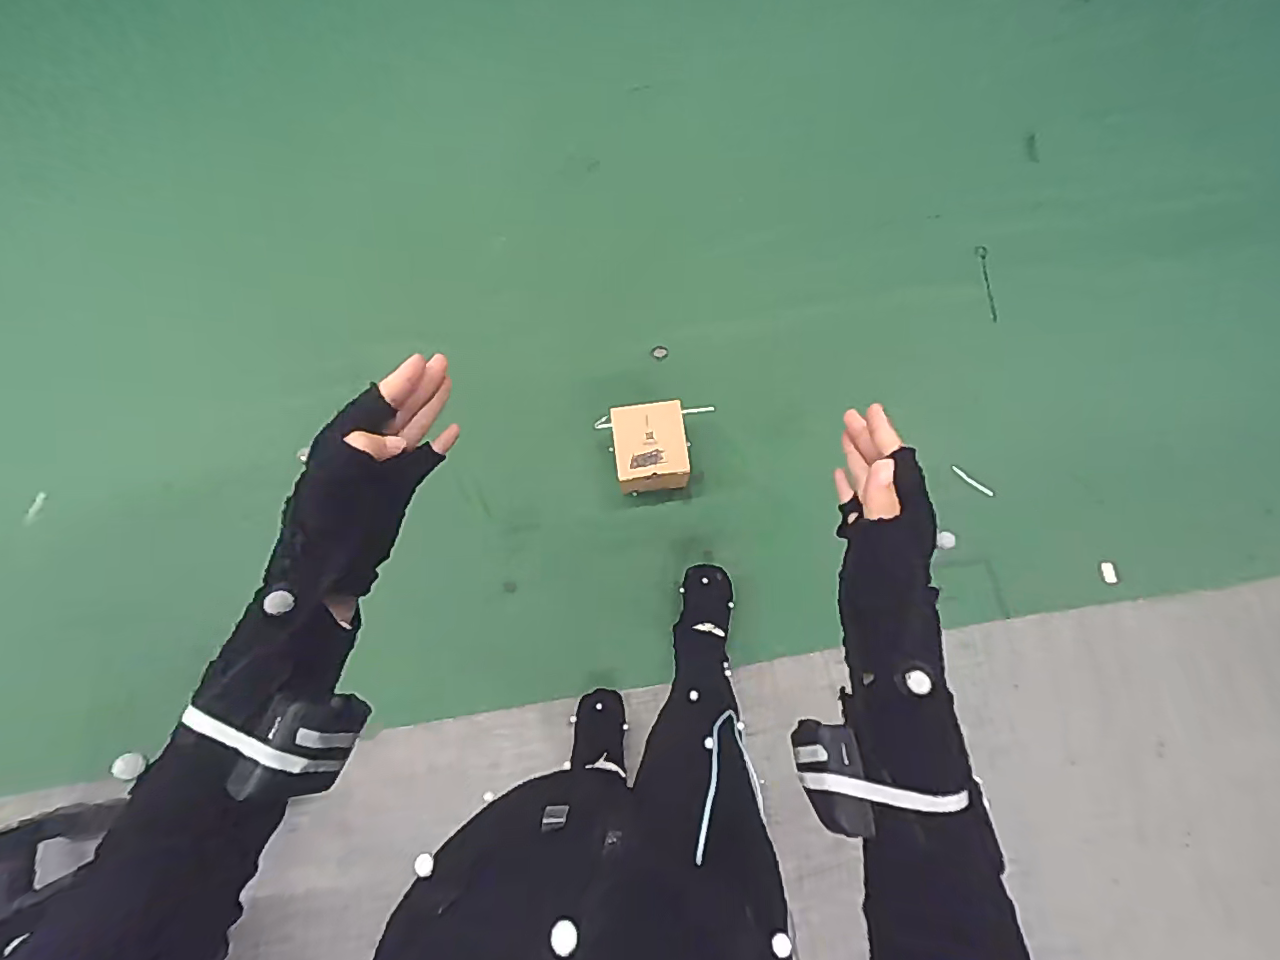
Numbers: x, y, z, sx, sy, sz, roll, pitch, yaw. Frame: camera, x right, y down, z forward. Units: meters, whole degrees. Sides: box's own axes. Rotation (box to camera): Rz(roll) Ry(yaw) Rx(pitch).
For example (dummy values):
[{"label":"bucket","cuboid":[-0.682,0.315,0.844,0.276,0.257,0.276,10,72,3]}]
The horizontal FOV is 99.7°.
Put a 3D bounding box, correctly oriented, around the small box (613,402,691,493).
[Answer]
[{"label":"small box","cuboid":[0.028,-0.071,1.312,0.168,0.176,0.179,-7,77,-1]}]
